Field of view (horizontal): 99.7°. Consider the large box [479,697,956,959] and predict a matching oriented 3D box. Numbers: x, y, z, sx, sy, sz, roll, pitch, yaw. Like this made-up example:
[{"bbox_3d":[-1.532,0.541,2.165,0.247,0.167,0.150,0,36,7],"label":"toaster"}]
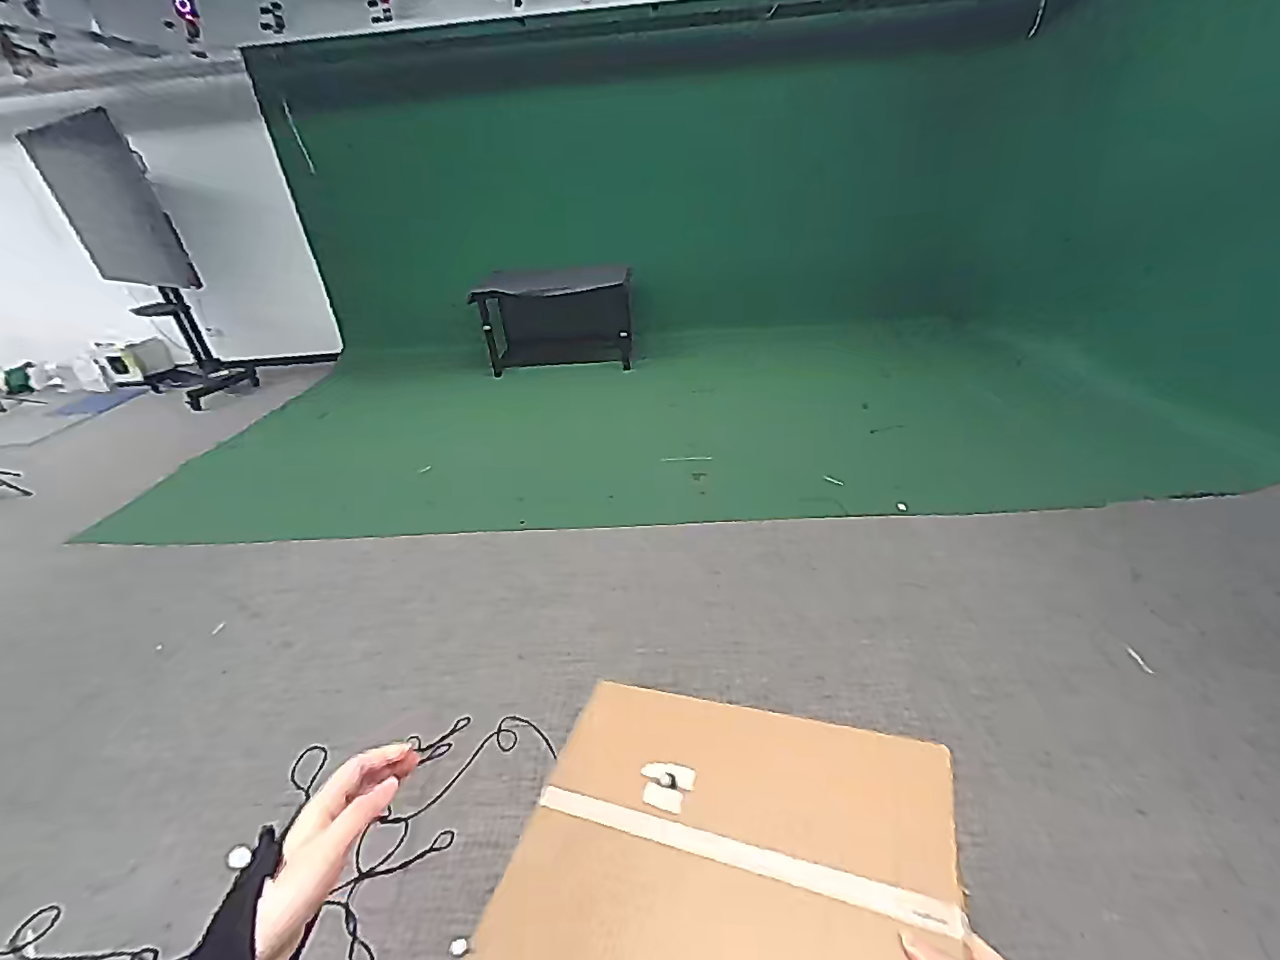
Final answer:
[{"bbox_3d":[0.118,0.492,0.596,0.408,0.320,0.320,-2,33,29],"label":"large box"}]
